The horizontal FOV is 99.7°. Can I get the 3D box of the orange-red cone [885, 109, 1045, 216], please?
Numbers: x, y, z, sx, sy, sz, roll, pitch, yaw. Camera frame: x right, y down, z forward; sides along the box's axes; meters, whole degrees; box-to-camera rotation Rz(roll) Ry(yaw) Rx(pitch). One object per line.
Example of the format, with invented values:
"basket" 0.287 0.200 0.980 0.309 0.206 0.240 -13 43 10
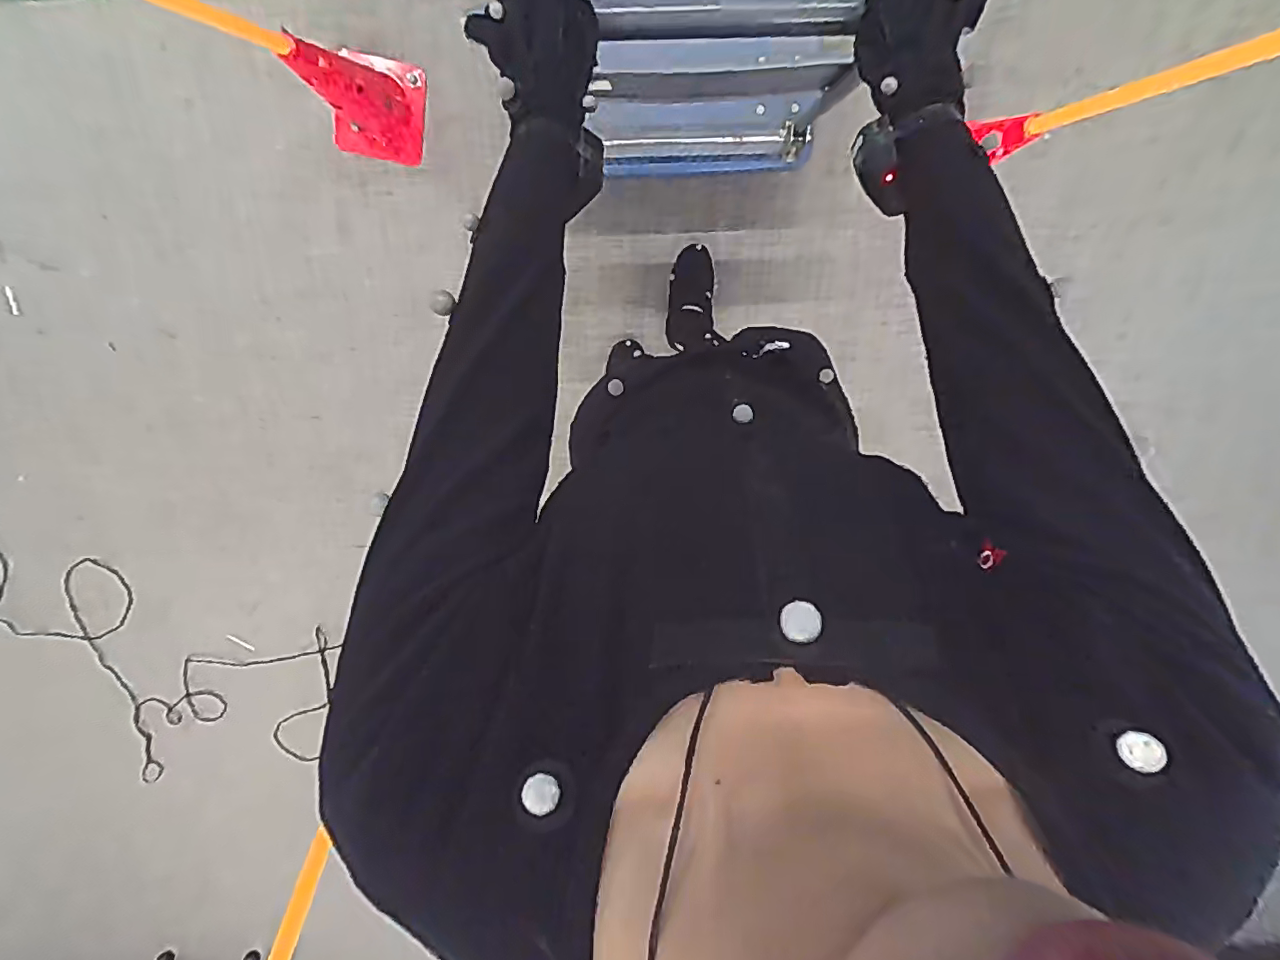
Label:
"orange-red cone" 0.690 -0.678 1.103 0.198 0.360 0.199 10 111 -3
